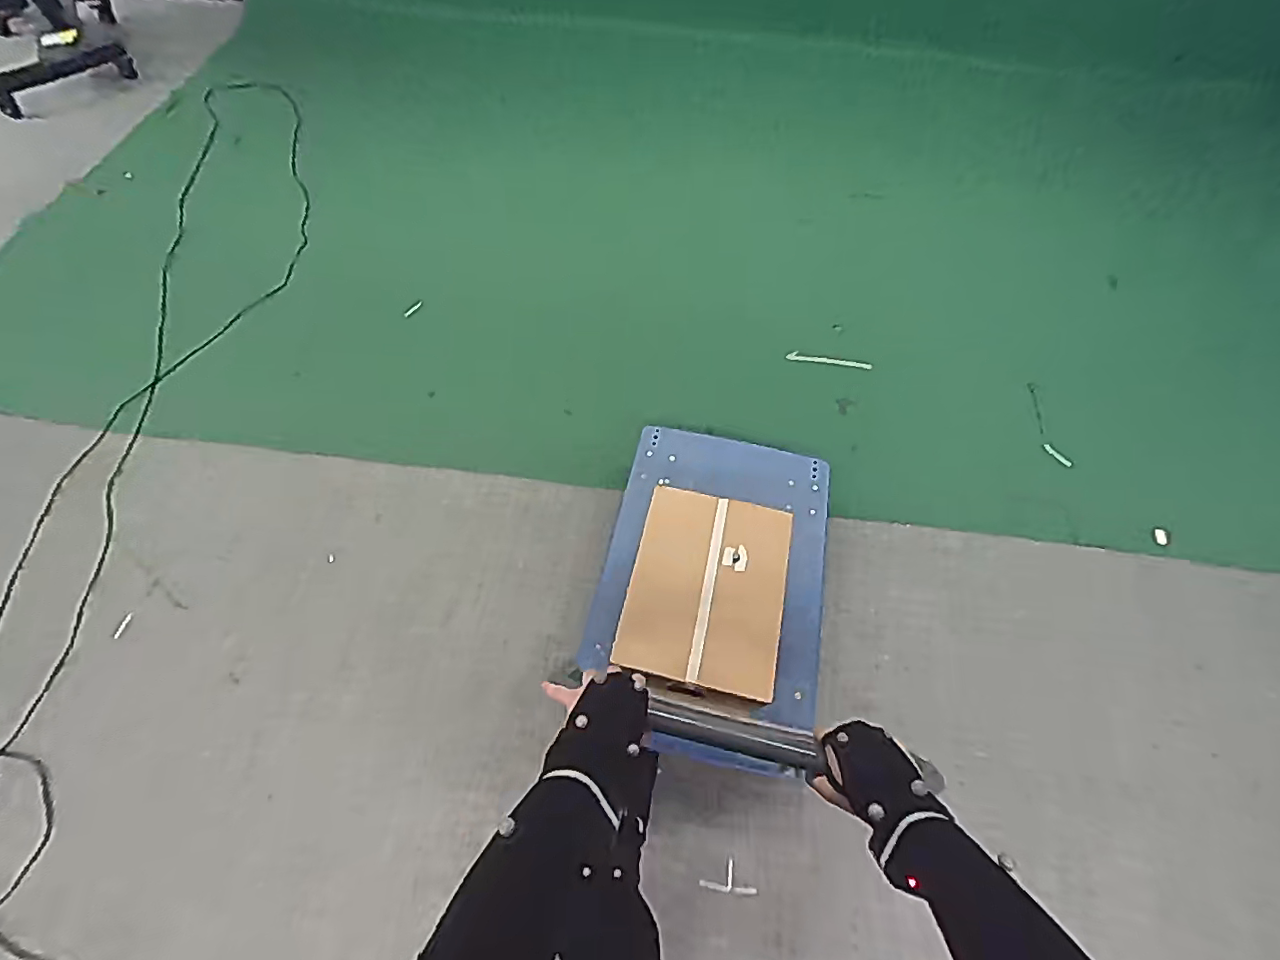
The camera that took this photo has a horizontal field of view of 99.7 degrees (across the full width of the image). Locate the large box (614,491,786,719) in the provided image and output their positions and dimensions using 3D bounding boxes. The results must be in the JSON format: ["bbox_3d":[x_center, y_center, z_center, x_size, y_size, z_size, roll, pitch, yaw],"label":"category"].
[{"bbox_3d":[0.136,0.296,1.256,0.320,0.320,0.408,12,59,5],"label":"large box"}]
